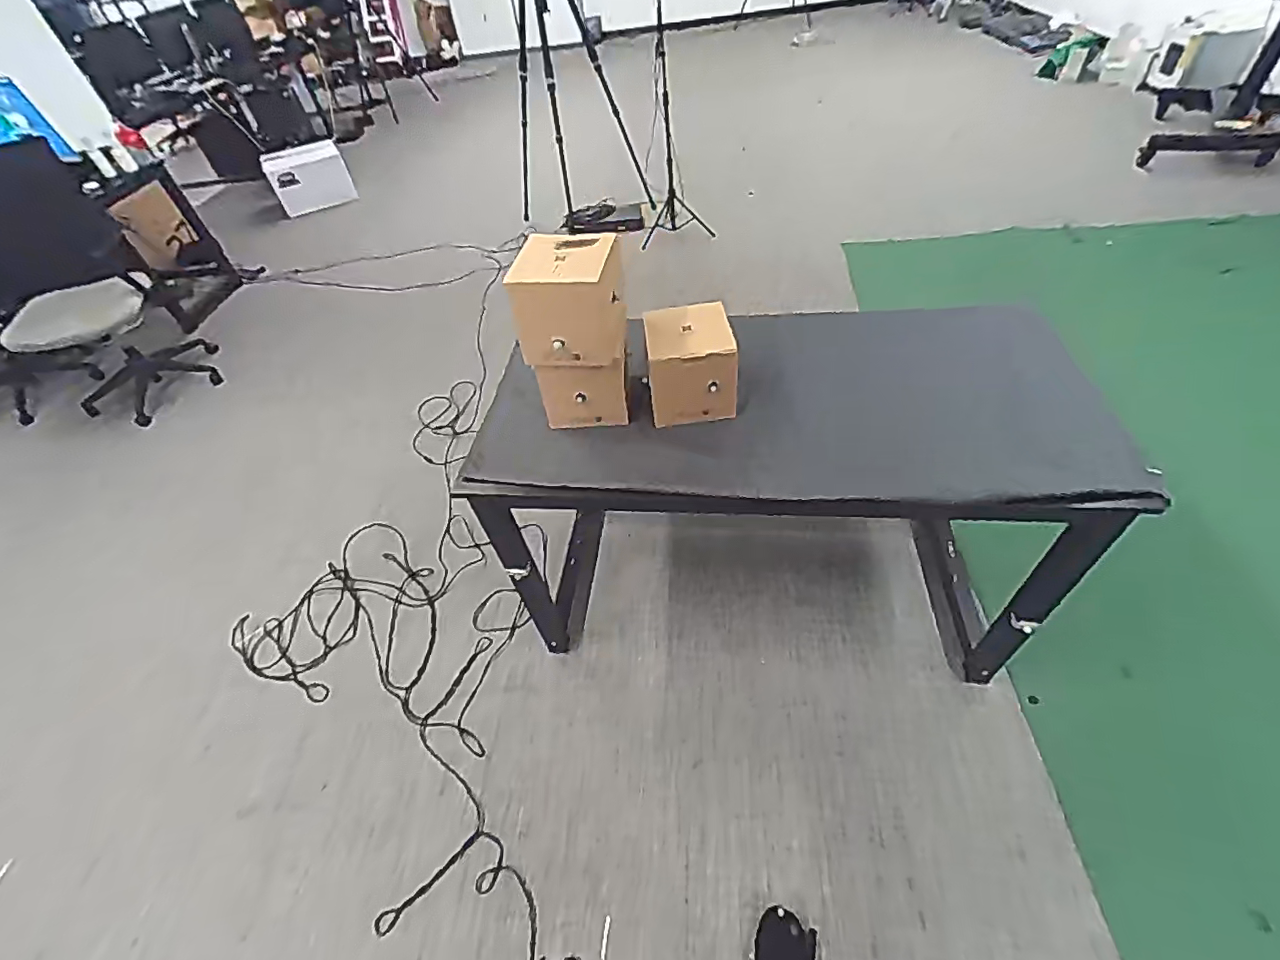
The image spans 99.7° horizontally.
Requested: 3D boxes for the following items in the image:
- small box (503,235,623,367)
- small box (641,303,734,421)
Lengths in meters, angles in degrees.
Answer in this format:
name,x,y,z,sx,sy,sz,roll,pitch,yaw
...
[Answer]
name,x,y,z,sx,sy,sz,roll,pitch,yaw
small box,-0.128,-0.327,0.986,0.168,0.176,0.179,3,49,10
small box,0.095,-0.233,1.096,0.168,0.176,0.179,-6,47,1
